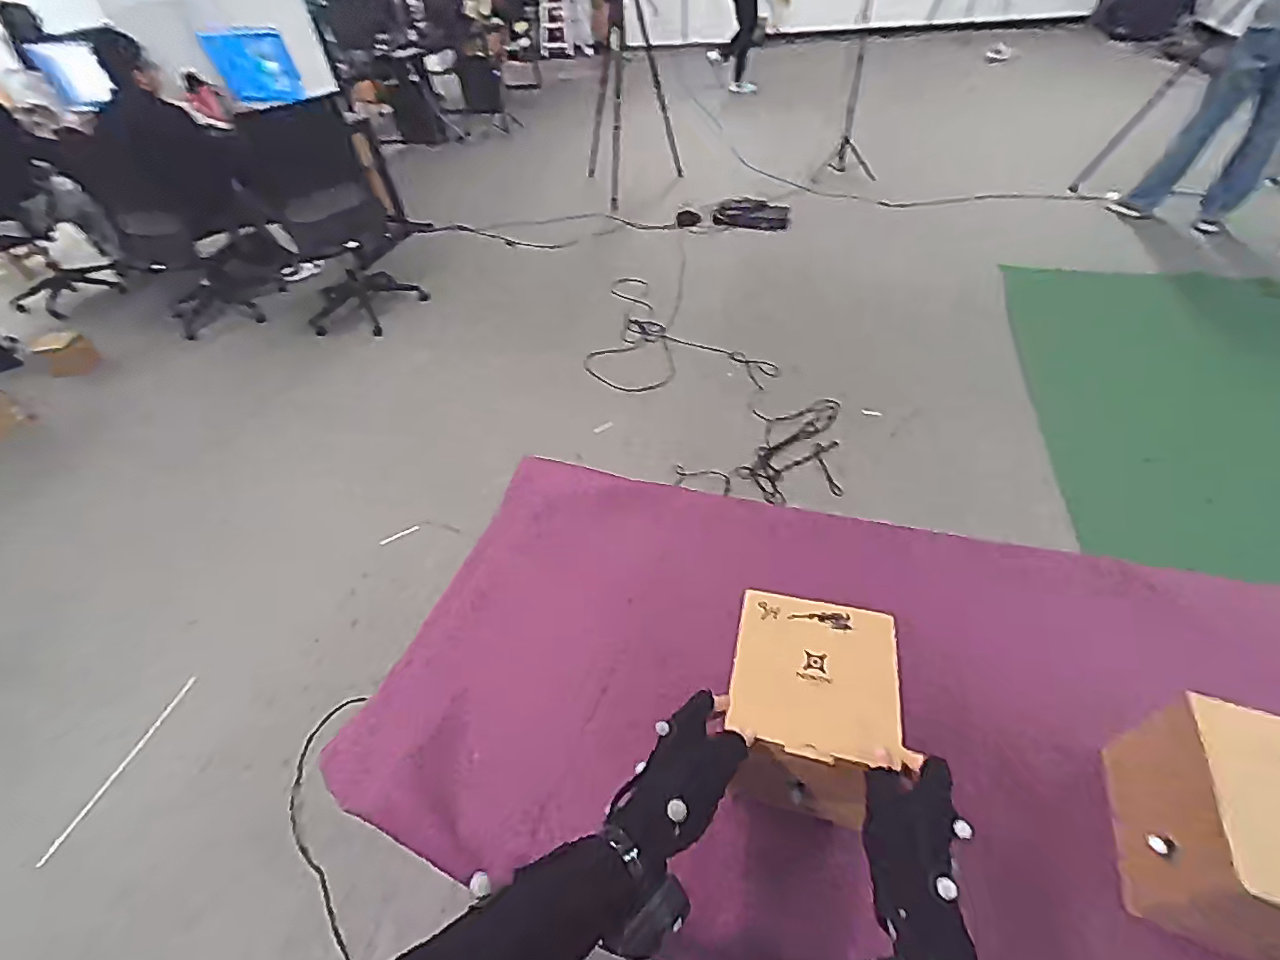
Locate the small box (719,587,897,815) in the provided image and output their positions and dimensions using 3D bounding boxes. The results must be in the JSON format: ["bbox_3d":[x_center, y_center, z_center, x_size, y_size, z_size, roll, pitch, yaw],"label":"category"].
[{"bbox_3d":[0.187,0.254,0.622,0.168,0.176,0.179,8,46,14],"label":"small box"}]

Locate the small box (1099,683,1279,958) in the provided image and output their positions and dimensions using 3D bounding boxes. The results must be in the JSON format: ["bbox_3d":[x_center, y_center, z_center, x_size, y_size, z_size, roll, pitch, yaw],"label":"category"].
[{"bbox_3d":[0.595,0.338,0.527,0.168,0.176,0.179,14,49,18],"label":"small box"}]
